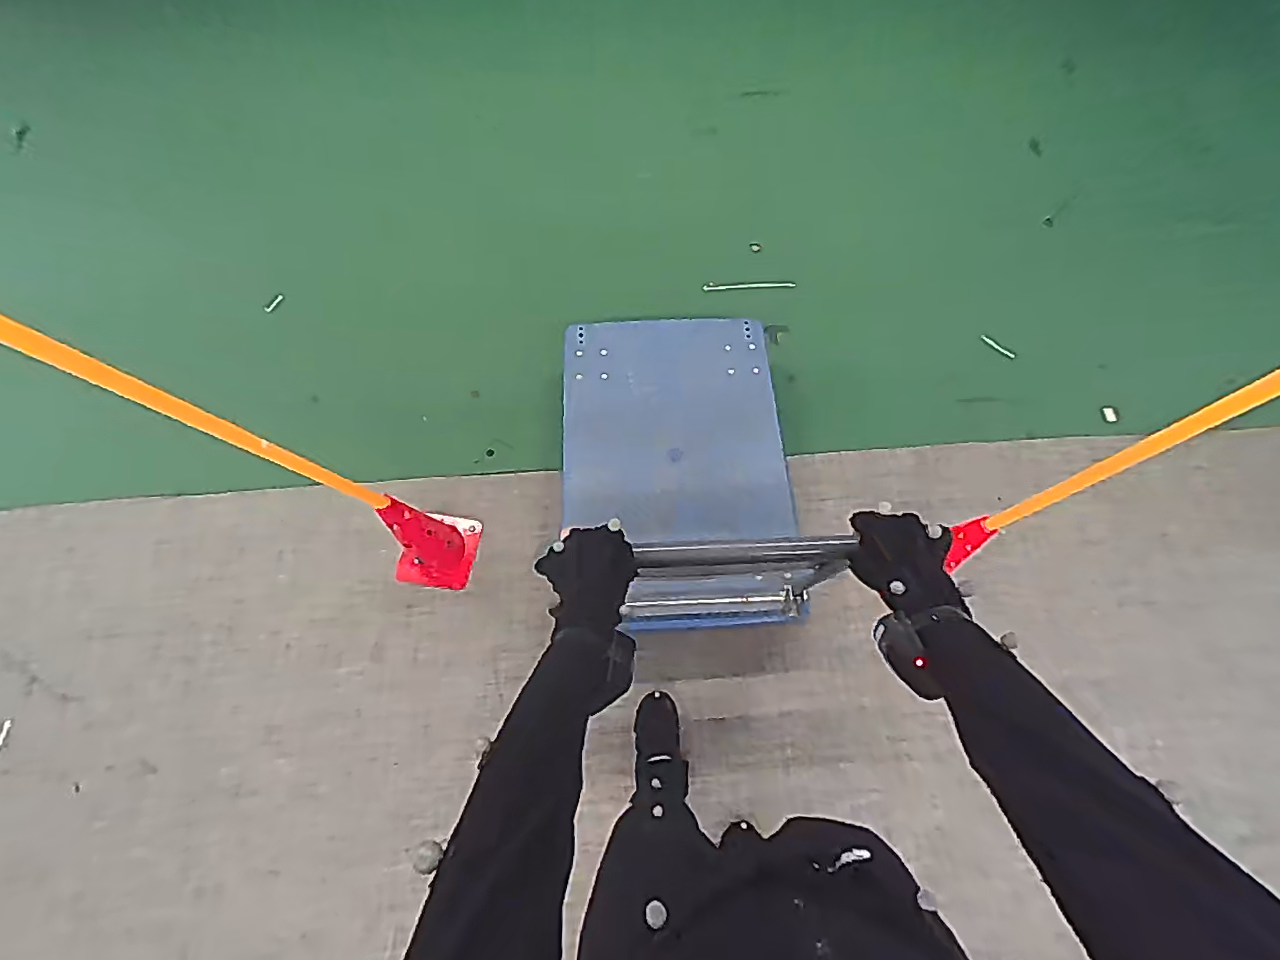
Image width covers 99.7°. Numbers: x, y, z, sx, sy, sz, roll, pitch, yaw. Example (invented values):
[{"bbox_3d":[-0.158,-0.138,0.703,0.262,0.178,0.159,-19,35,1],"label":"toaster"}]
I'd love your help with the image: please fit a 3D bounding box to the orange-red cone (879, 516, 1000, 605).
[{"bbox_3d":[0.740,0.163,1.291,0.198,0.360,0.199,6,67,4],"label":"orange-red cone"}]
